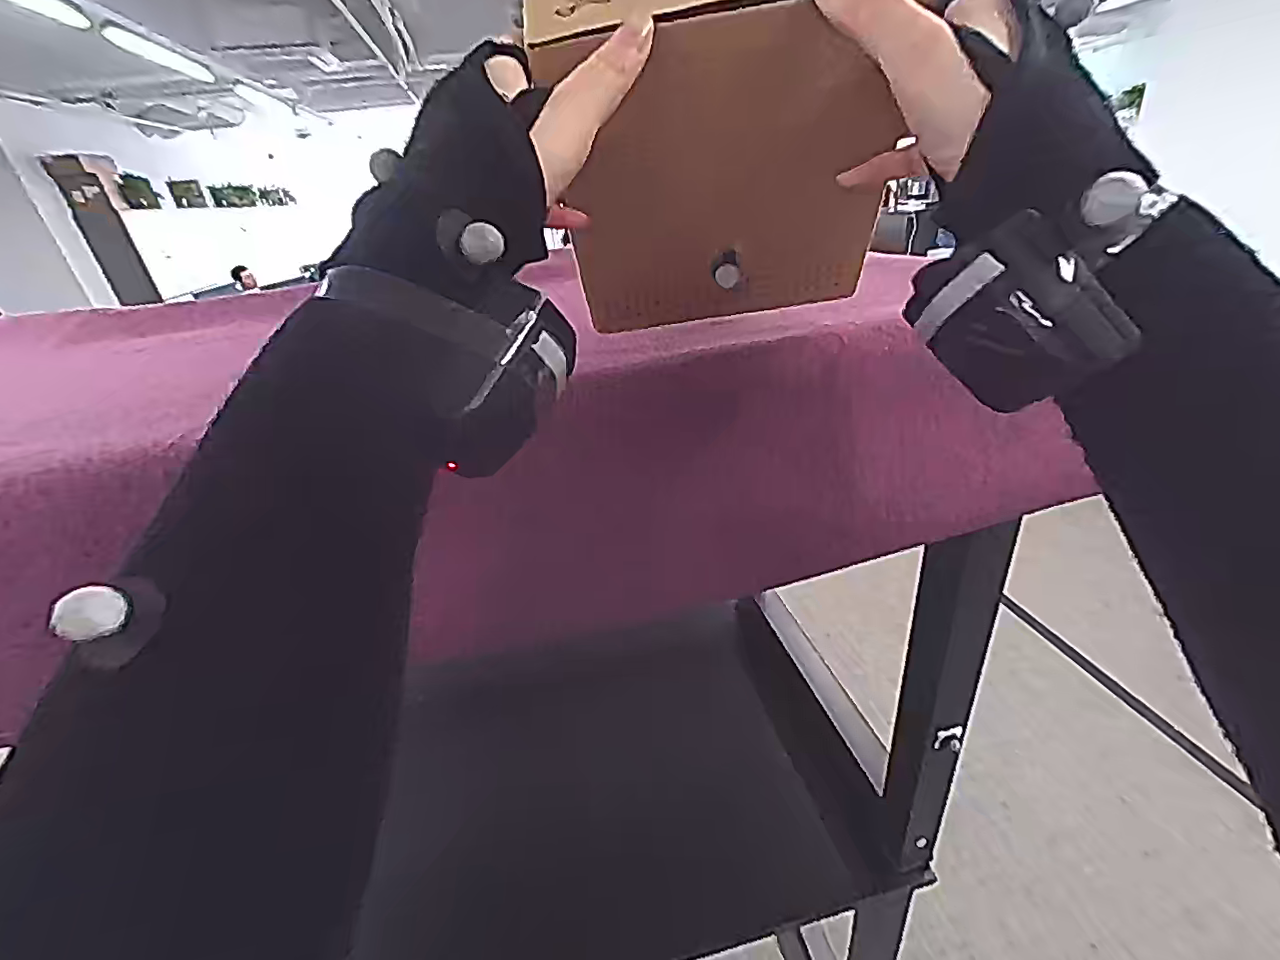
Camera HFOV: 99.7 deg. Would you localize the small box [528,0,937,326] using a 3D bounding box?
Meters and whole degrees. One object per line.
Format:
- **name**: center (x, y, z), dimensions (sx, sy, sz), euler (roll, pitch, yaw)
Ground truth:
- **small box**: center (0.039, -0.220, 0.331), dimensions (0.179, 0.176, 0.168), euler (-8, 56, 2)
